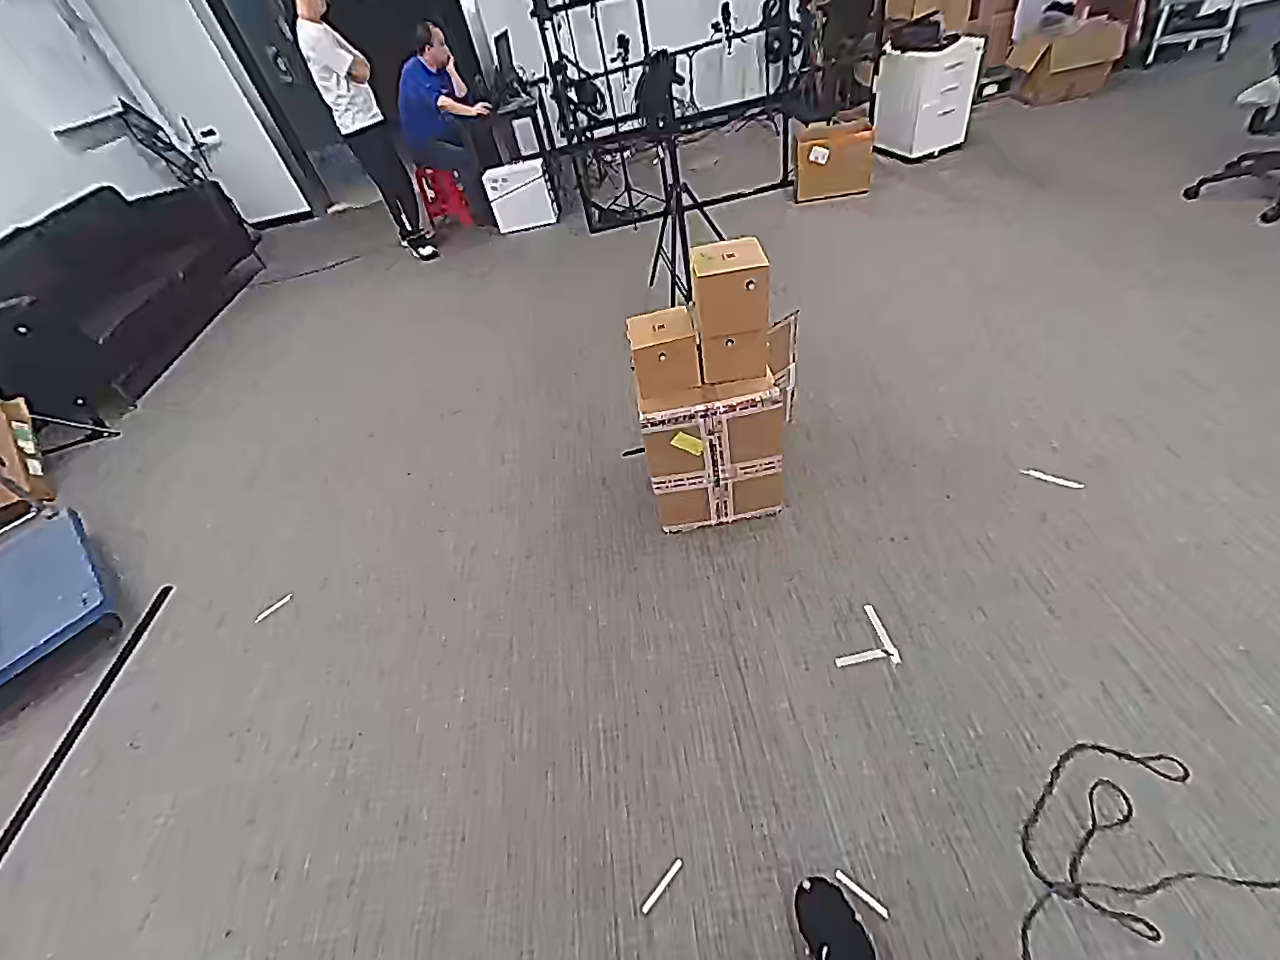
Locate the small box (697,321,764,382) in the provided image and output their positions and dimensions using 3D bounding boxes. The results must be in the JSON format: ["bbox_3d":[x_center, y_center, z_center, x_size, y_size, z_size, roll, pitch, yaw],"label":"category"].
[{"bbox_3d":[0.250,-0.389,1.512,0.179,0.176,0.168,-6,46,6],"label":"small box"}]

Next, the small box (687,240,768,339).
[{"bbox_3d":[0.221,-0.484,1.378,0.179,0.176,0.168,-9,45,4],"label":"small box"}]
